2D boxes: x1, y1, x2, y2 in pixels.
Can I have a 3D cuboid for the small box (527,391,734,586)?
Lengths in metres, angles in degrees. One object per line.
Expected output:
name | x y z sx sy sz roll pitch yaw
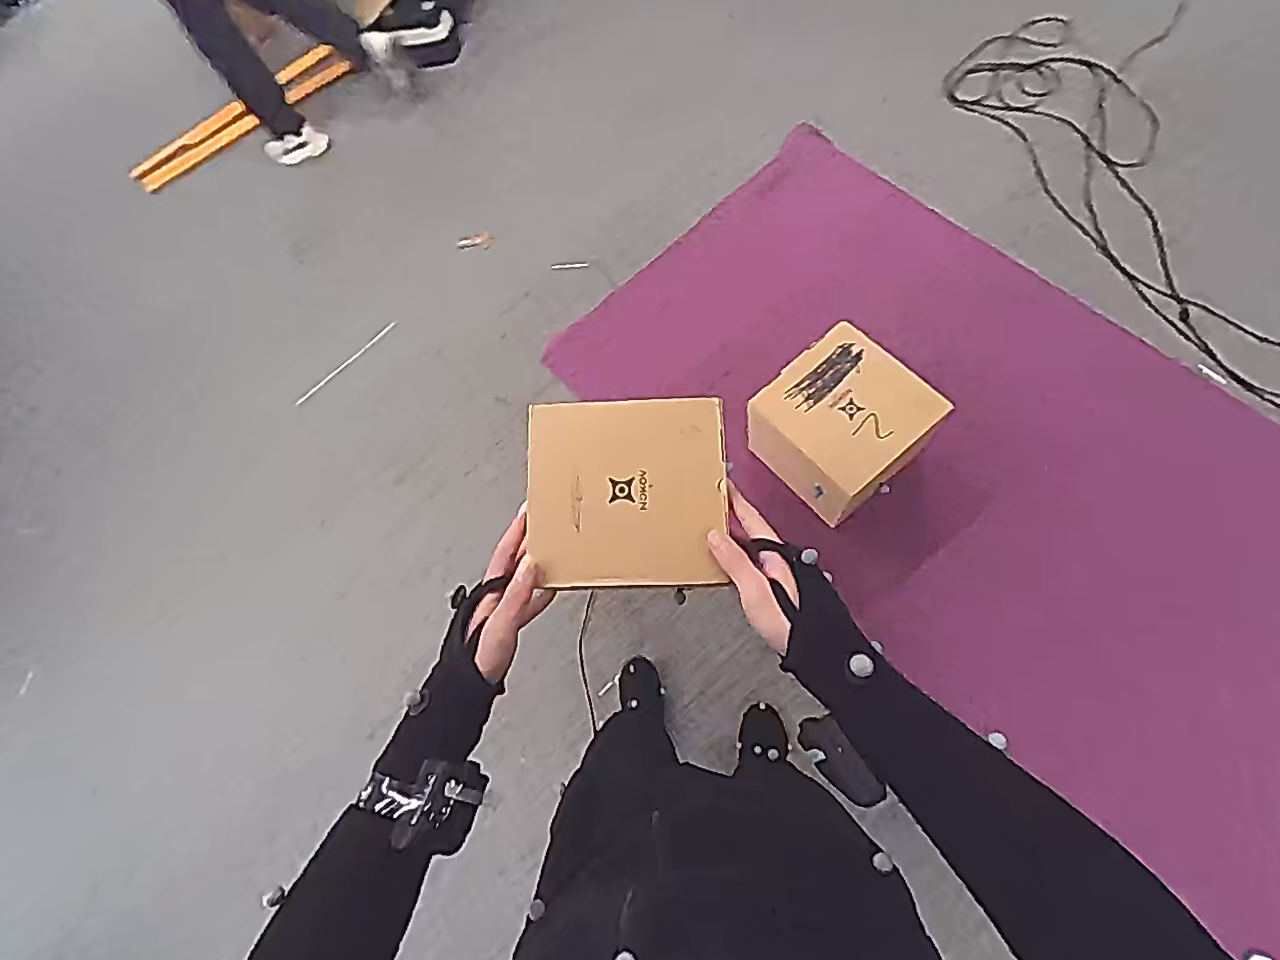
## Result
small box | -0.002 0.018 0.546 0.179 0.176 0.168 -1 76 5
